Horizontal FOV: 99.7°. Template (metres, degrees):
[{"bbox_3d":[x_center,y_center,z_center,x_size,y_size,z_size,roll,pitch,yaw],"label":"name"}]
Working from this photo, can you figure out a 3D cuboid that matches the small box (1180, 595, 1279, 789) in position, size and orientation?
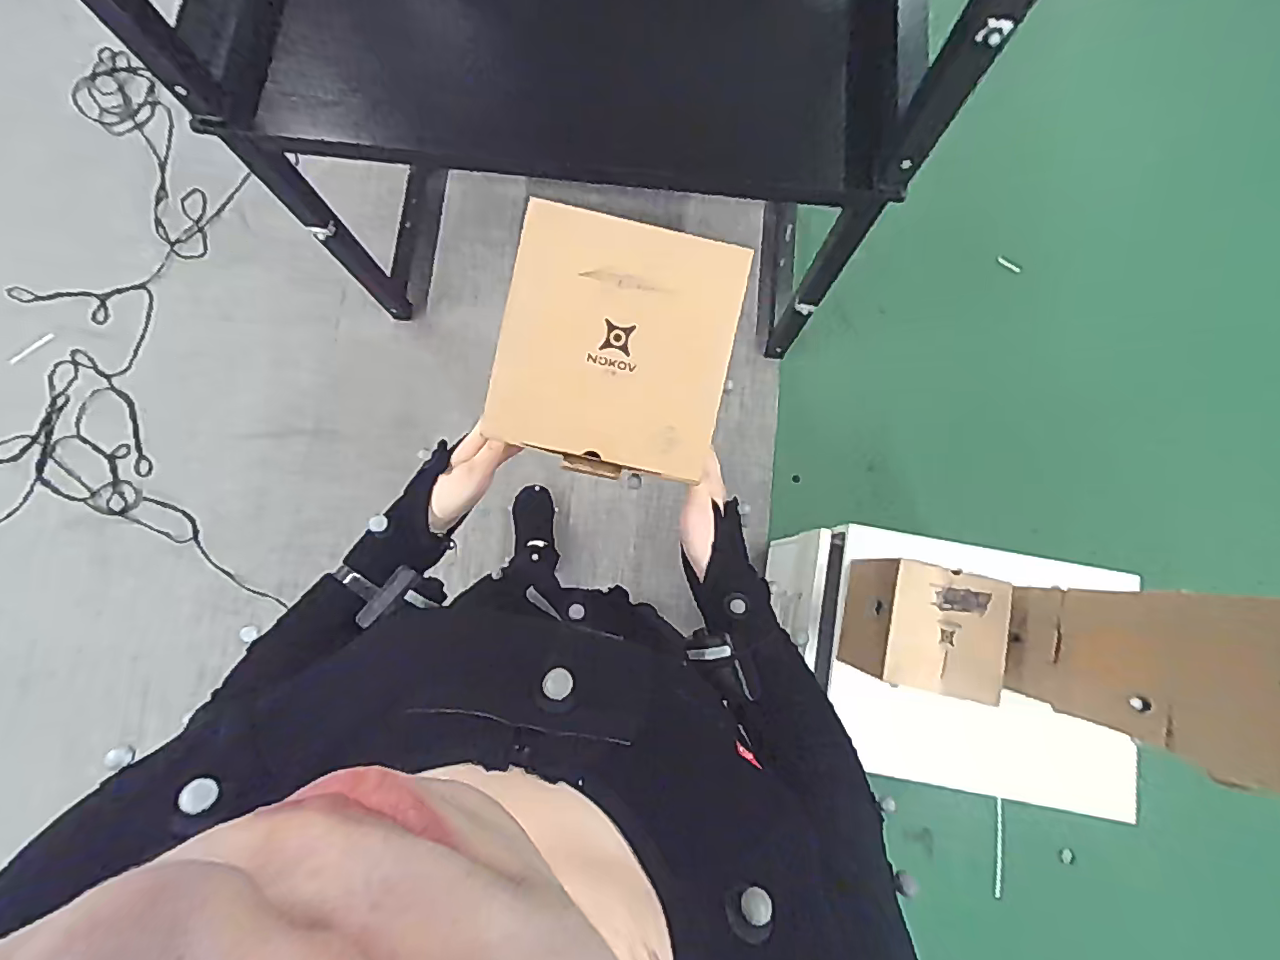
[{"bbox_3d":[0.655,0.203,0.496,0.168,0.176,0.179,6,81,2],"label":"small box"}]

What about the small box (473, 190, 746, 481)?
[{"bbox_3d":[-0.024,-0.102,0.457,0.168,0.176,0.179,11,91,-3],"label":"small box"}]

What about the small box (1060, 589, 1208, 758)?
[{"bbox_3d":[0.659,0.236,0.658,0.168,0.176,0.179,14,82,2],"label":"small box"}]

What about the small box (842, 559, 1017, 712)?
[{"bbox_3d":[0.427,0.224,0.821,0.168,0.176,0.179,13,81,1],"label":"small box"}]
